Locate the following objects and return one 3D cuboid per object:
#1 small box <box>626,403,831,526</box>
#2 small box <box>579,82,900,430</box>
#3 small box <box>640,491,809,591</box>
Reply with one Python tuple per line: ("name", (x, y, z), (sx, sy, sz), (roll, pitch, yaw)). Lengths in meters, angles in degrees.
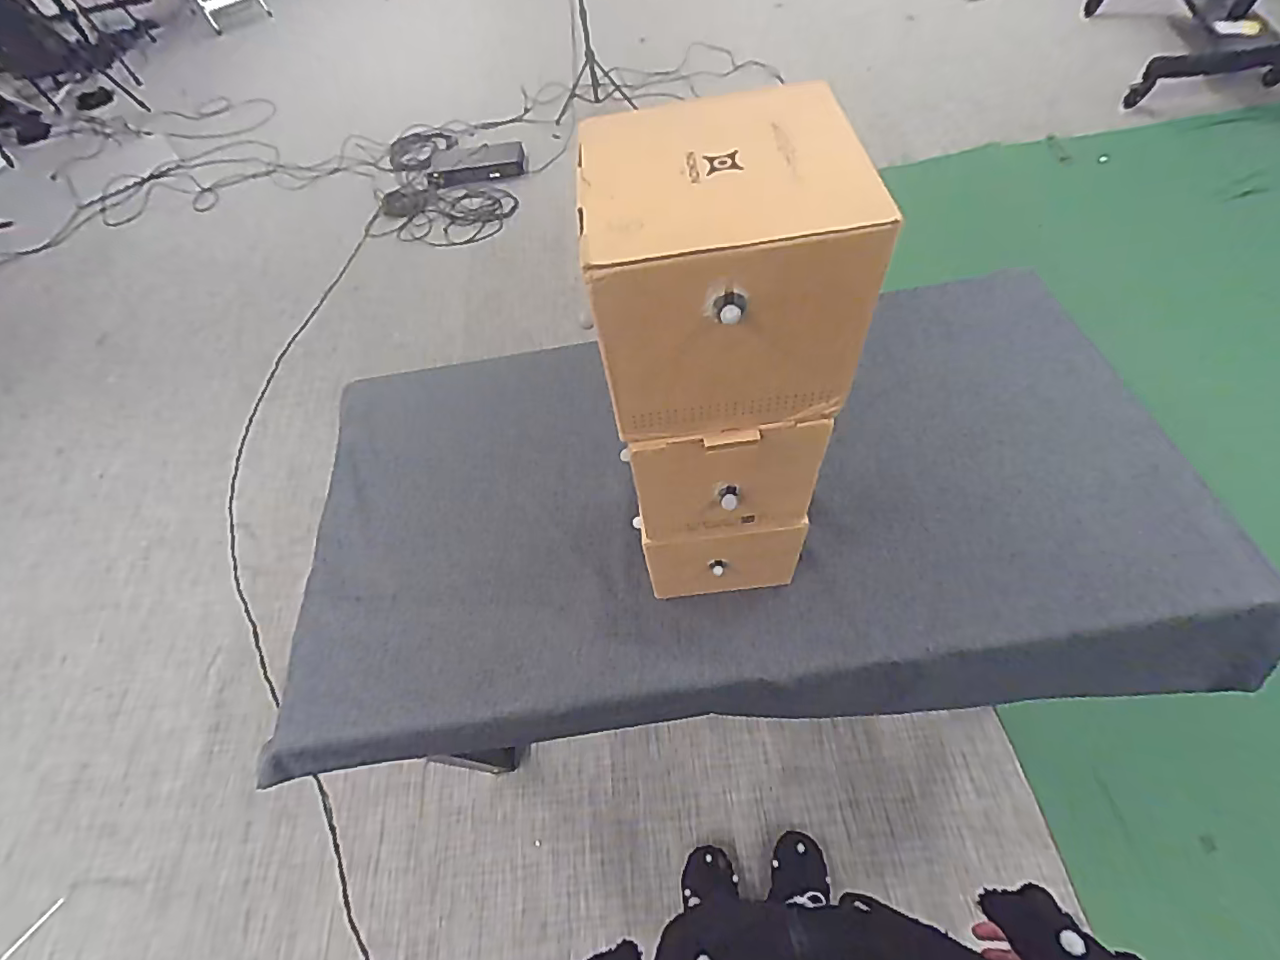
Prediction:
("small box", (0.074, -0.066, 0.539), (0.168, 0.176, 0.179), (-8, 58, 3))
("small box", (0.058, -0.153, 0.402), (0.179, 0.176, 0.168), (-7, 59, 2))
("small box", (0.094, 0.027, 0.672), (0.179, 0.176, 0.168), (-8, 58, 4))
